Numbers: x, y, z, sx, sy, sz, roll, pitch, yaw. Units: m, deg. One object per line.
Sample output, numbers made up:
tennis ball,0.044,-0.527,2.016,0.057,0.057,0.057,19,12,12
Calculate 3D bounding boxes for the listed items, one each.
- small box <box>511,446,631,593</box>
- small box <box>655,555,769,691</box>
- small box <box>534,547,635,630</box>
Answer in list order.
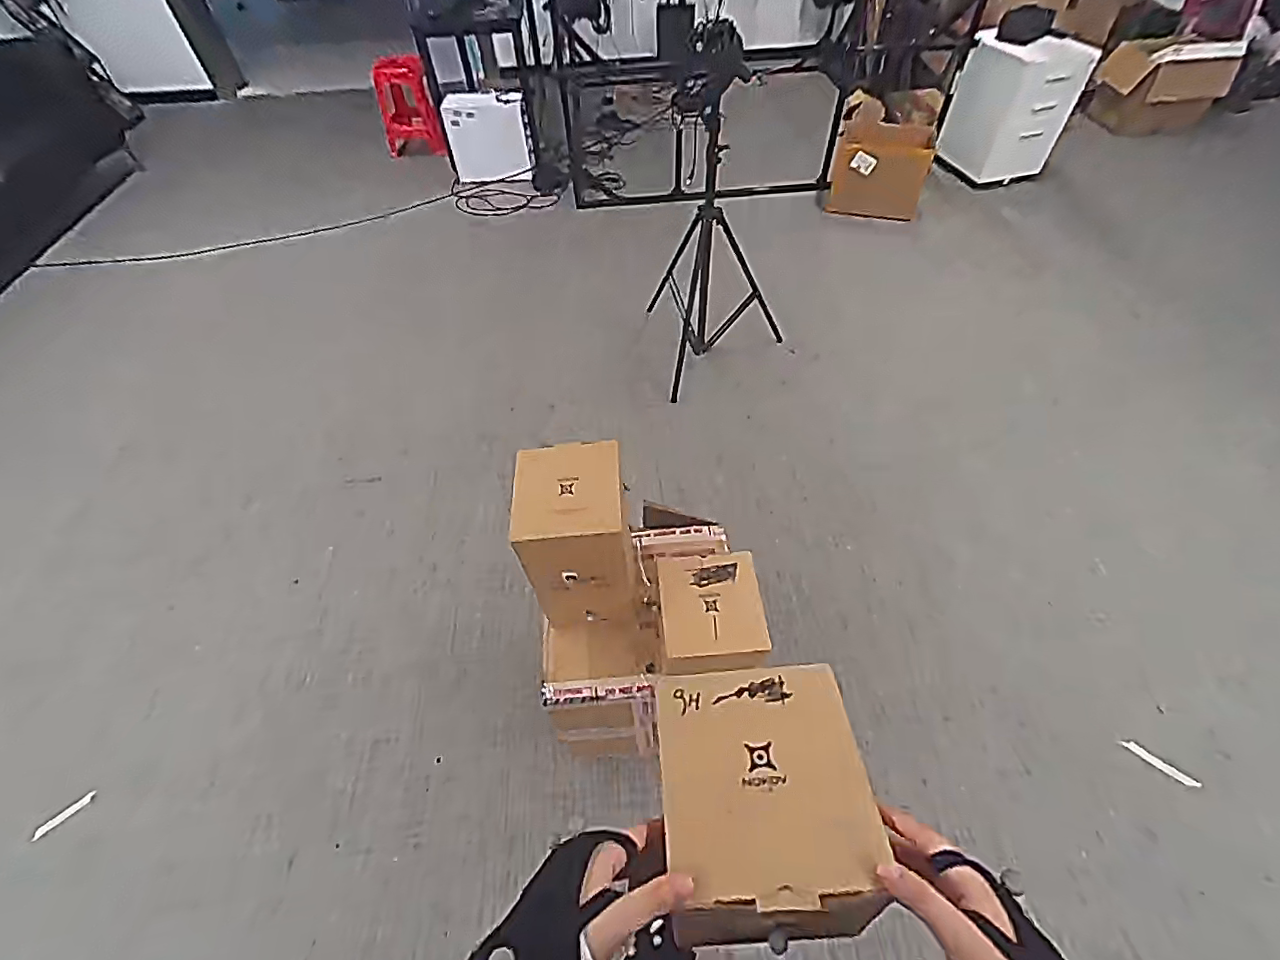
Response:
small box,-0.106,0.067,0.891,0.168,0.176,0.179,-6,54,1
small box,0.114,0.252,0.946,0.168,0.176,0.179,-4,54,-2
small box,-0.099,0.164,1.021,0.168,0.176,0.179,-5,53,0
